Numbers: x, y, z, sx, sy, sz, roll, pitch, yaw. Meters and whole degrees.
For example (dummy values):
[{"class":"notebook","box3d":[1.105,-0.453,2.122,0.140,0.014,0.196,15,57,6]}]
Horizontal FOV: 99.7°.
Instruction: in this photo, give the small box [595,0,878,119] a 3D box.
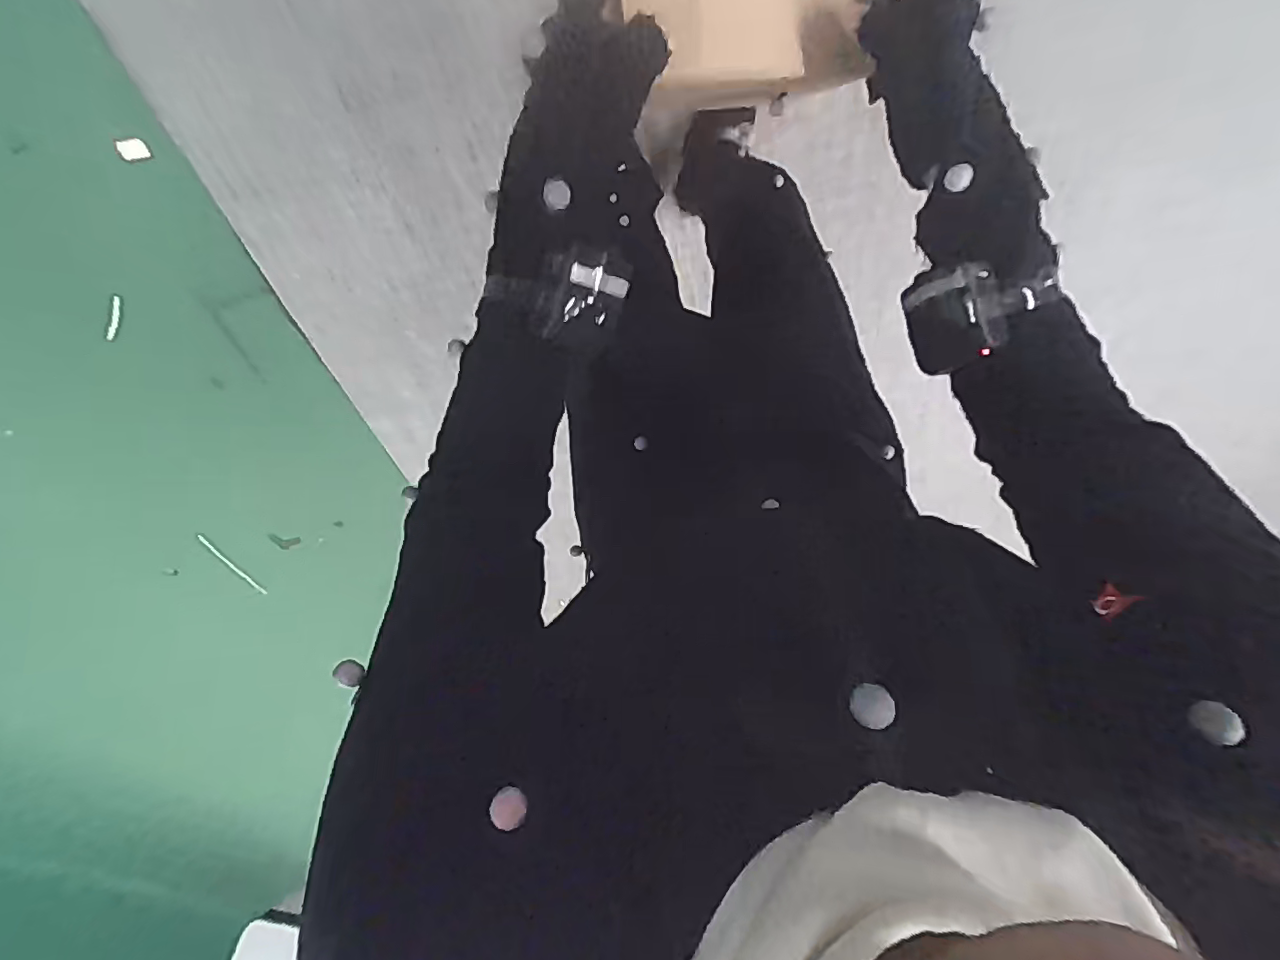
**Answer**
[{"class":"small box","box3d":[0.058,-0.379,0.398,0.179,0.176,0.168,-8,118,-3]}]
